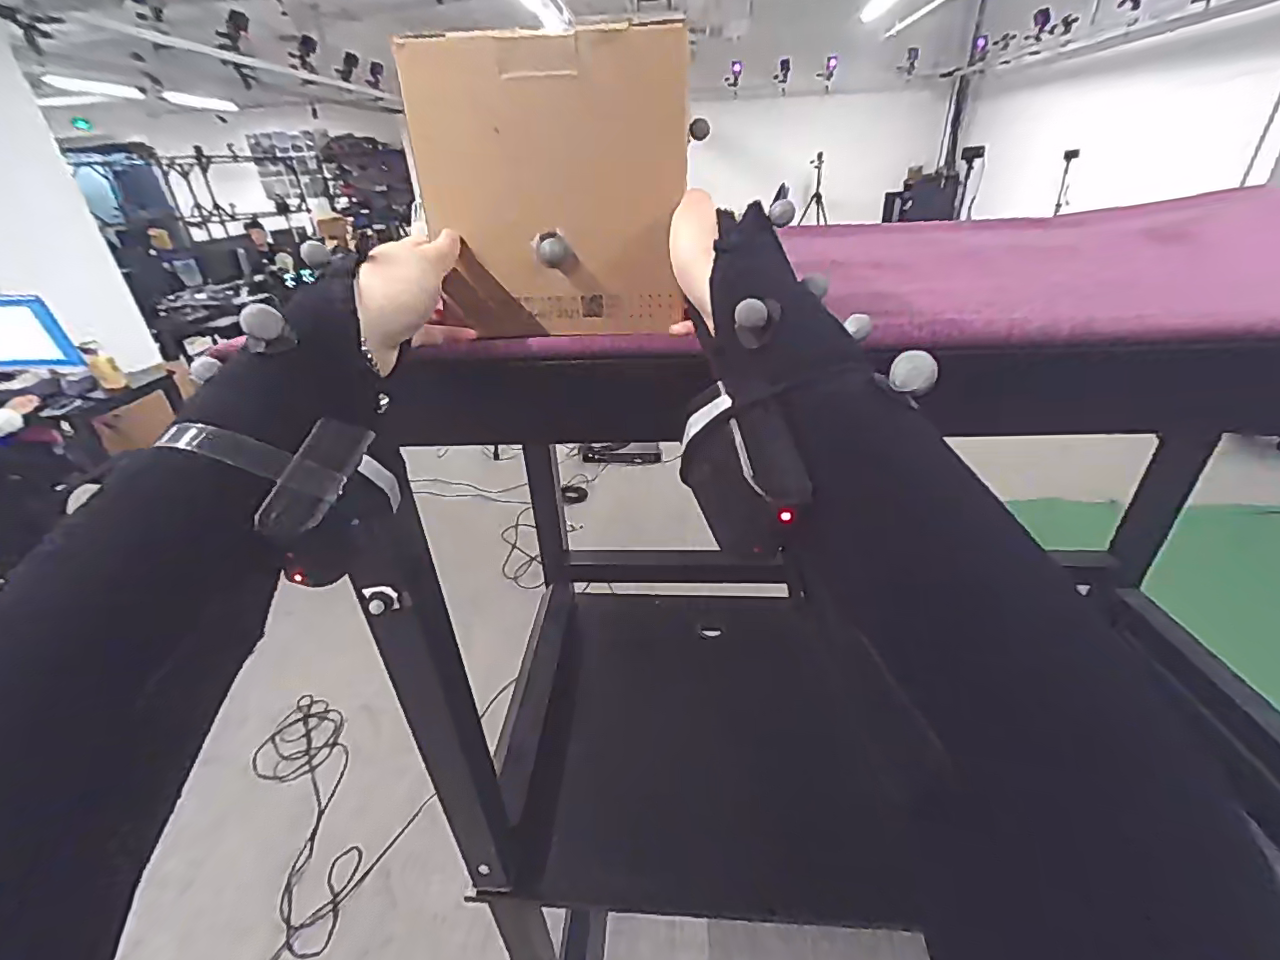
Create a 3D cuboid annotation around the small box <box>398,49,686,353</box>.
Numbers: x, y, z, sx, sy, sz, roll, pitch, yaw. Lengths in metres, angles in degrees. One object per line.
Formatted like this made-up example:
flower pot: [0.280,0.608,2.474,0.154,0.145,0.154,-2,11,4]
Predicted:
small box: [-0.050,-0.202,0.410,0.168,0.176,0.179,0,30,5]
